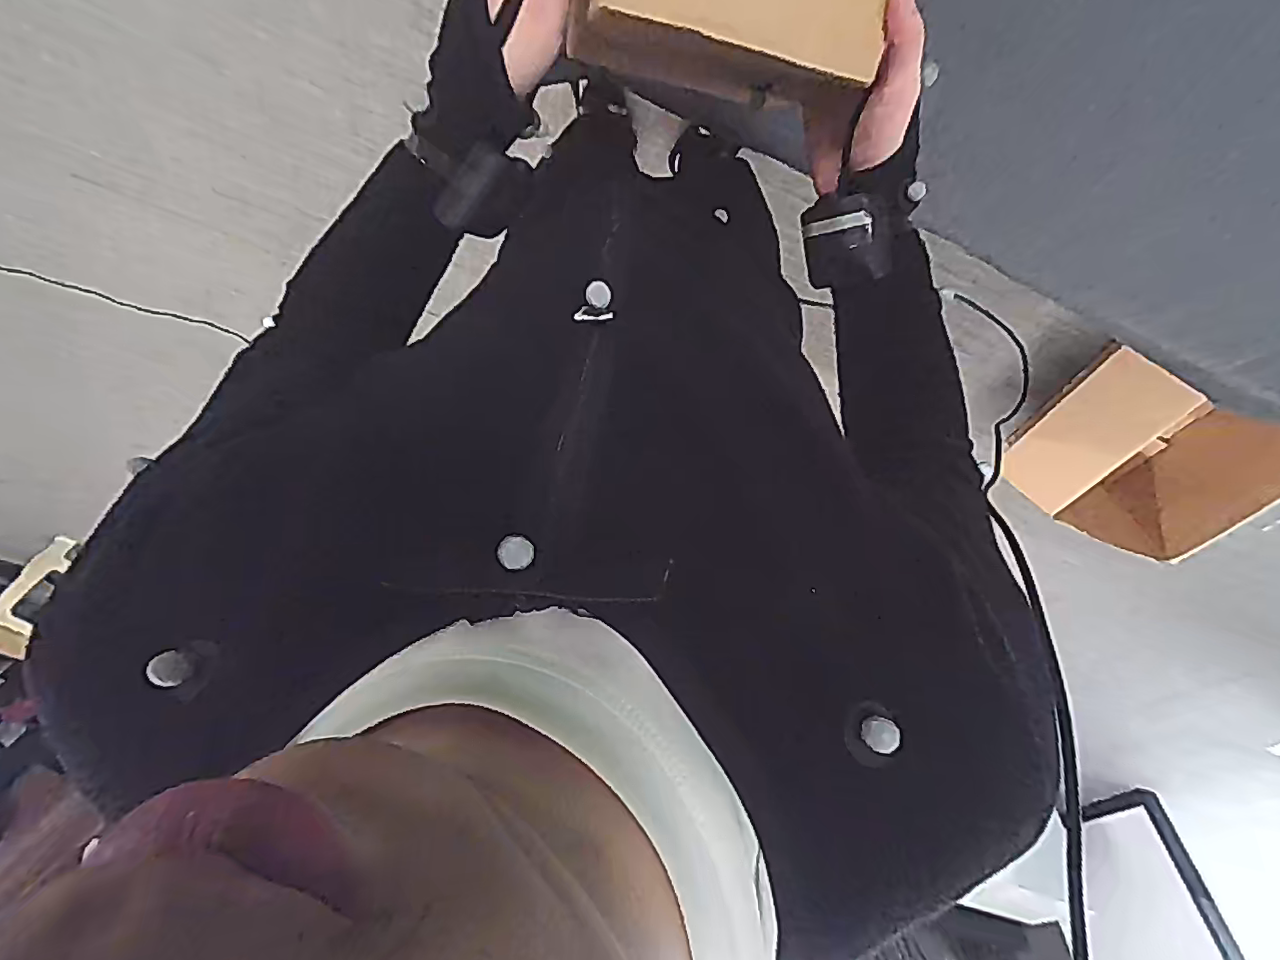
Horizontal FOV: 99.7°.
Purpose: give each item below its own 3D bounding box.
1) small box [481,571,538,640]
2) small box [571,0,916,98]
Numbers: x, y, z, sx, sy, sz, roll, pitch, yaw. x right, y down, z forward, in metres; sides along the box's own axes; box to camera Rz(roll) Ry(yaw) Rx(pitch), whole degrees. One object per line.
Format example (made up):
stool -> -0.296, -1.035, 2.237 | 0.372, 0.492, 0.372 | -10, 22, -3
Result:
small box -> -0.491, 0.474, 2.046 | 0.168, 0.176, 0.179 | 15, 132, -5
small box -> 0.062, -0.348, 0.328 | 0.179, 0.176, 0.168 | 2, 120, -16
